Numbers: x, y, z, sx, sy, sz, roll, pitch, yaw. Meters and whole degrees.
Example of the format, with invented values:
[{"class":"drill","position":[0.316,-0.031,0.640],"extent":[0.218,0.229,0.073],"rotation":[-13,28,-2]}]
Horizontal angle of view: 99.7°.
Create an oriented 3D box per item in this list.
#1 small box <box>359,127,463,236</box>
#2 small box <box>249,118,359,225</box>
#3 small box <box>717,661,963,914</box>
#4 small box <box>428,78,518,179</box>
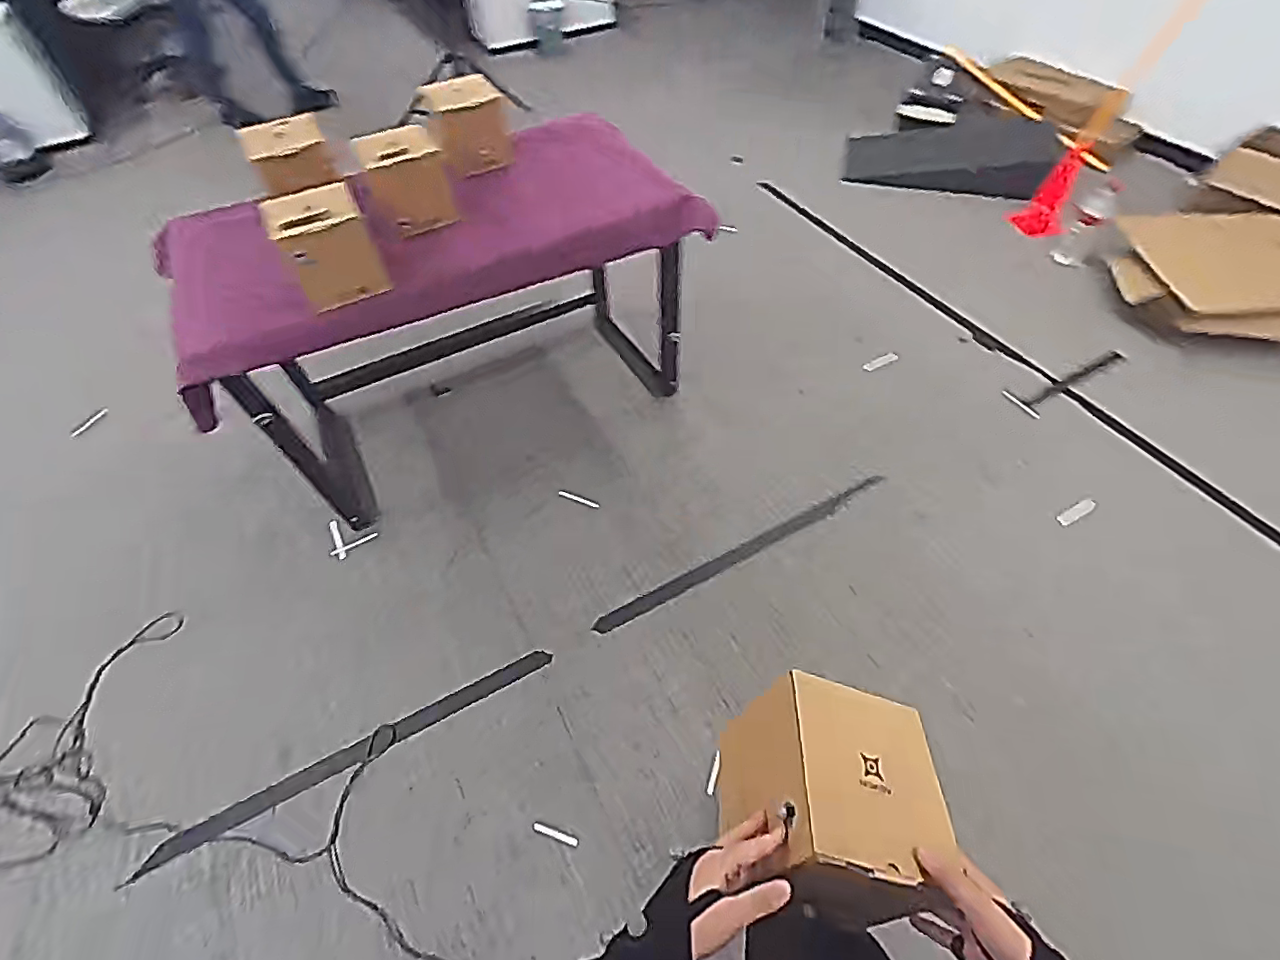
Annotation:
[{"class":"small box","position":[-0.552,-0.720,1.320],"extent":[0.168,0.176,0.179],"rotation":[-24,57,-15]},{"class":"small box","position":[-0.838,-0.767,1.361],"extent":[0.168,0.176,0.179],"rotation":[-25,60,-16]},{"class":"small box","position":[0.193,0.333,0.585],"extent":[0.168,0.176,0.179],"rotation":[20,39,-11]},{"class":"small box","position":[-0.452,-0.960,1.482],"extent":[0.168,0.176,0.179],"rotation":[-26,59,-14]}]
